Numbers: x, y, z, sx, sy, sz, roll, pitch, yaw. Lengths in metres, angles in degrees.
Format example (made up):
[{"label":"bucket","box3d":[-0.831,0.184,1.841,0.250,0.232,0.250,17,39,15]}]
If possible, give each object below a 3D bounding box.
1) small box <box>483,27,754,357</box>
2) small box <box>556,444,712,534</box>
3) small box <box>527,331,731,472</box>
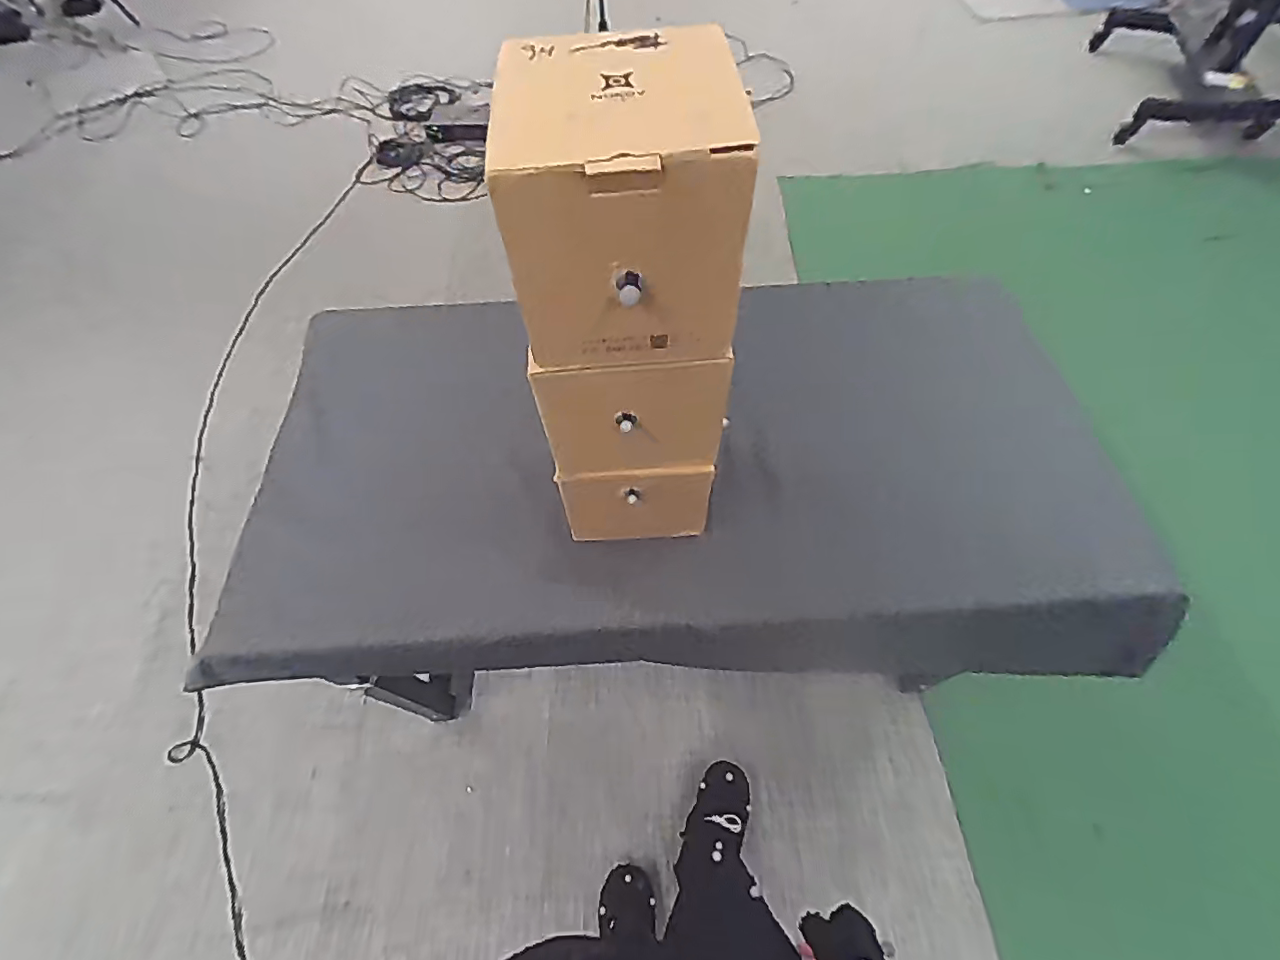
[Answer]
[{"label":"small box","box3d":[-0.014,-0.211,0.426,0.168,0.176,0.179,-4,61,0]},{"label":"small box","box3d":[-0.008,-0.036,0.703,0.179,0.176,0.168,-2,61,-1]},{"label":"small box","box3d":[-0.012,-0.122,0.563,0.179,0.176,0.168,-5,60,0]}]
